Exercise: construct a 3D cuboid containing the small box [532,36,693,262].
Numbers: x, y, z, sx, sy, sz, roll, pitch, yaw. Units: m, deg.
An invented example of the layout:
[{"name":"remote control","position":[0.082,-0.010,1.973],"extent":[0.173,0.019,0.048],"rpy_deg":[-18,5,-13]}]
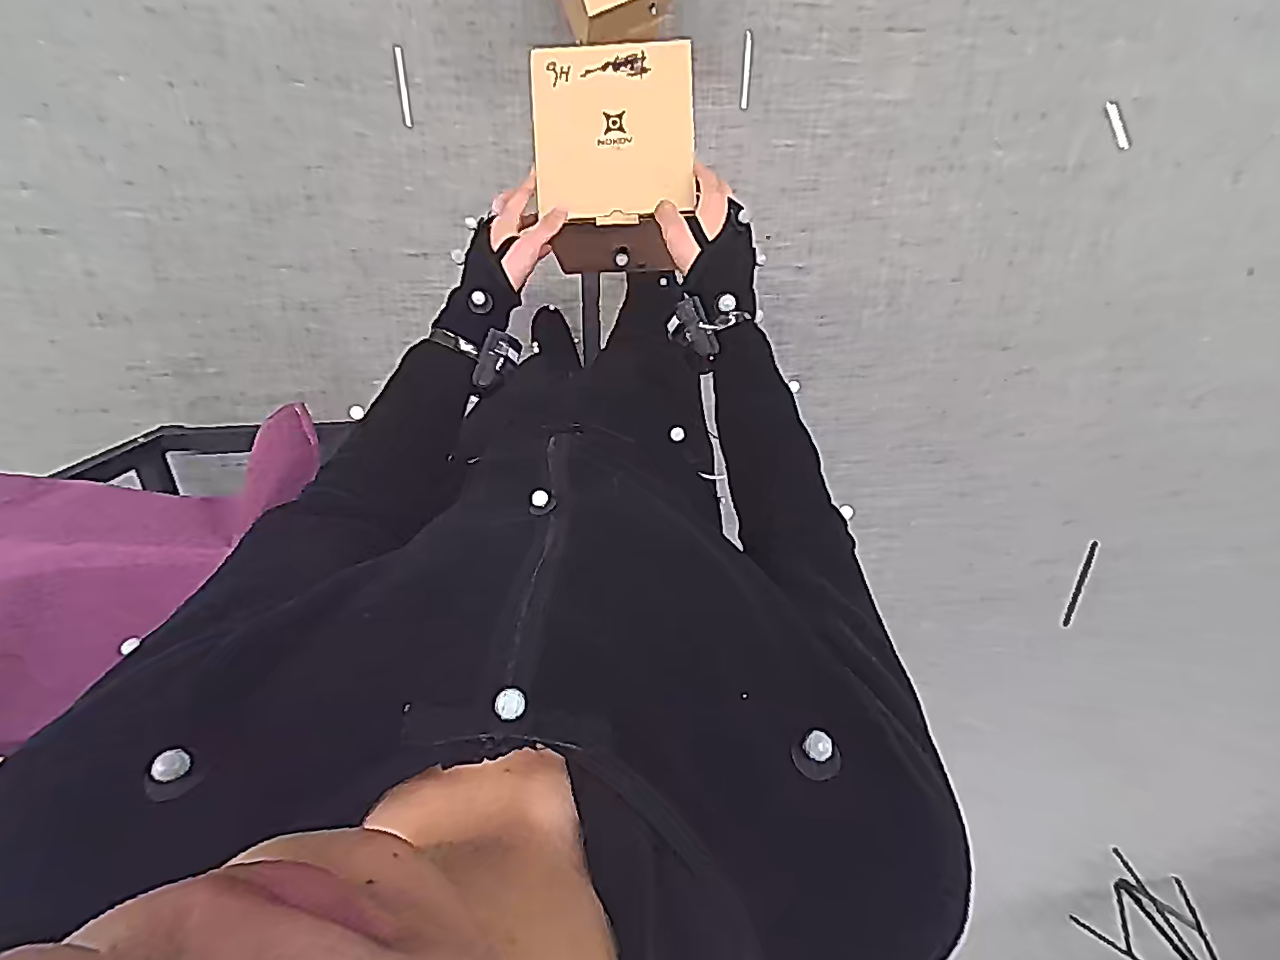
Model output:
[{"name":"small box","position":[-0.025,-0.367,0.637],"extent":[0.168,0.176,0.179],"rpy_deg":[-2,94,1]}]
